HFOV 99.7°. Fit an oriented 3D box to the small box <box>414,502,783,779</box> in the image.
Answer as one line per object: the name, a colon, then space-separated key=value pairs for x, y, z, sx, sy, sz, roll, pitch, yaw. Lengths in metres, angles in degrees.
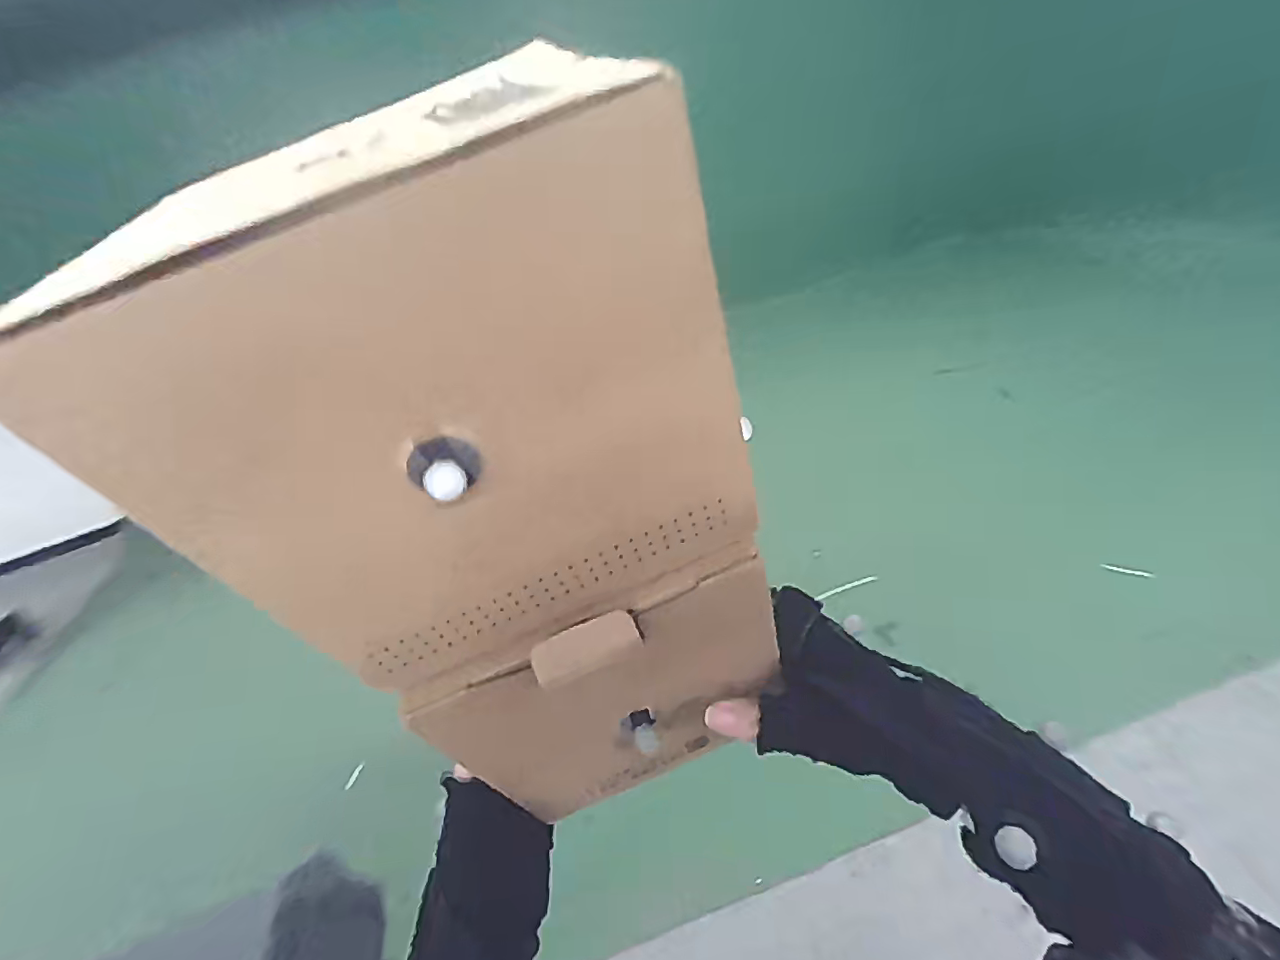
small box: x=-0.021 y=0.065 z=0.347 sx=0.168 sy=0.176 sz=0.179 roll=-22 pitch=43 yaw=-1
